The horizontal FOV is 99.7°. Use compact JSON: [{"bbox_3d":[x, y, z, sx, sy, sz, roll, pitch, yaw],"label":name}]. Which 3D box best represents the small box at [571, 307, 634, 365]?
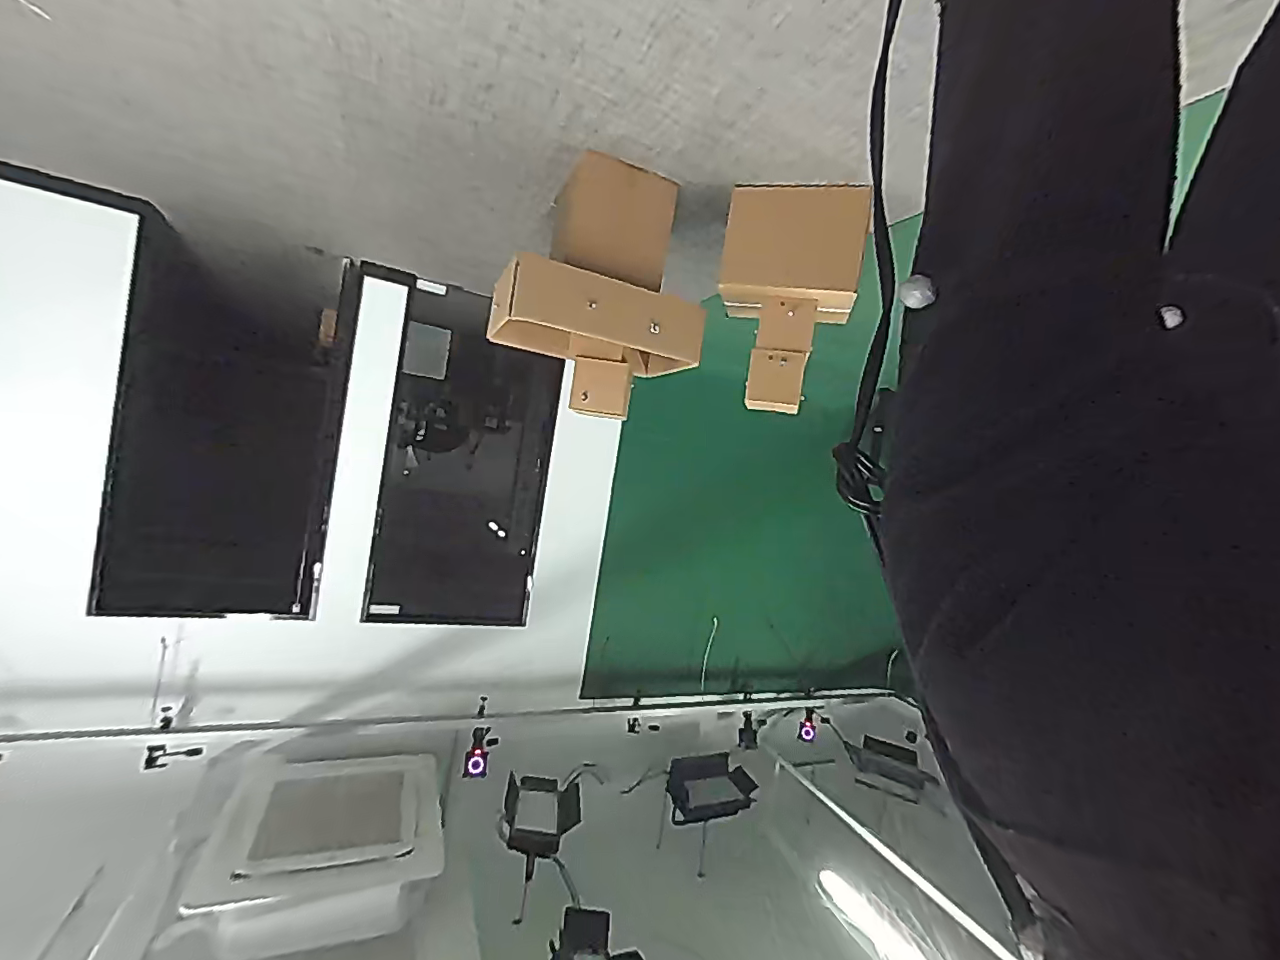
[{"bbox_3d":[-0.118,-0.458,1.780,0.179,0.176,0.168,8,179,5],"label":"small box"}]

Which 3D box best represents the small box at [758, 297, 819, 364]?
[{"bbox_3d":[0.472,-0.470,1.733,0.168,0.176,0.179,9,180,12],"label":"small box"}]

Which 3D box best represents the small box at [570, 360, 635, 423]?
[{"bbox_3d":[-0.119,-0.292,1.773,0.179,0.176,0.168,8,-179,4],"label":"small box"}]

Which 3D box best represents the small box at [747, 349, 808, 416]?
[{"bbox_3d":[0.441,-0.310,1.730,0.168,0.176,0.179,8,180,15],"label":"small box"}]
